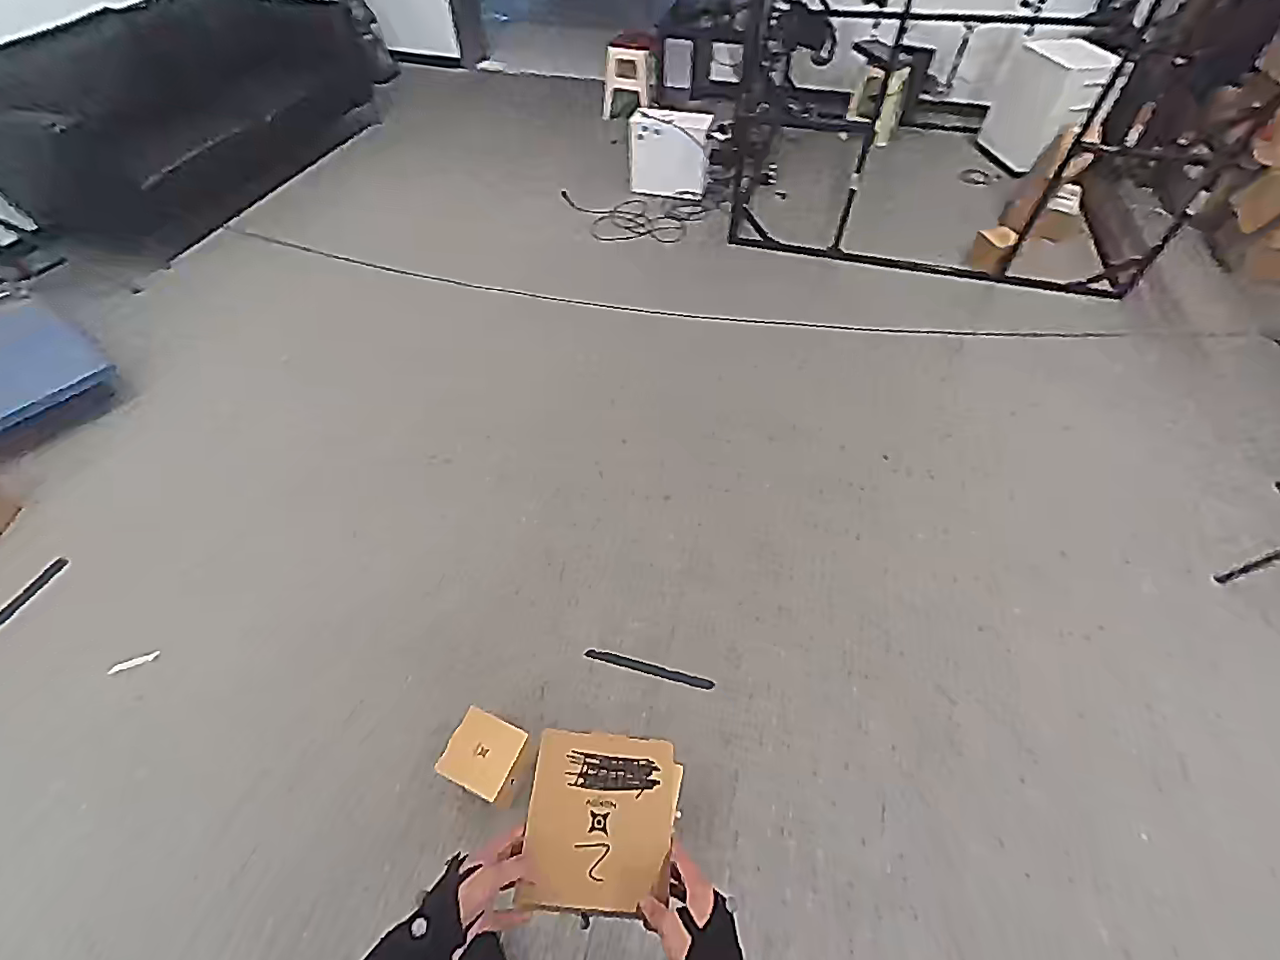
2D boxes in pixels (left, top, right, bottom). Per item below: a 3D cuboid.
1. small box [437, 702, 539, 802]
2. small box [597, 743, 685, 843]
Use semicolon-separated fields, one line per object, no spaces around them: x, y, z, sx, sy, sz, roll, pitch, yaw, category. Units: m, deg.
-0.381;0.706;1.395;0.179;0.176;0.168;19;55;16;small box
0.005;0.777;1.336;0.179;0.176;0.168;13;54;9;small box
